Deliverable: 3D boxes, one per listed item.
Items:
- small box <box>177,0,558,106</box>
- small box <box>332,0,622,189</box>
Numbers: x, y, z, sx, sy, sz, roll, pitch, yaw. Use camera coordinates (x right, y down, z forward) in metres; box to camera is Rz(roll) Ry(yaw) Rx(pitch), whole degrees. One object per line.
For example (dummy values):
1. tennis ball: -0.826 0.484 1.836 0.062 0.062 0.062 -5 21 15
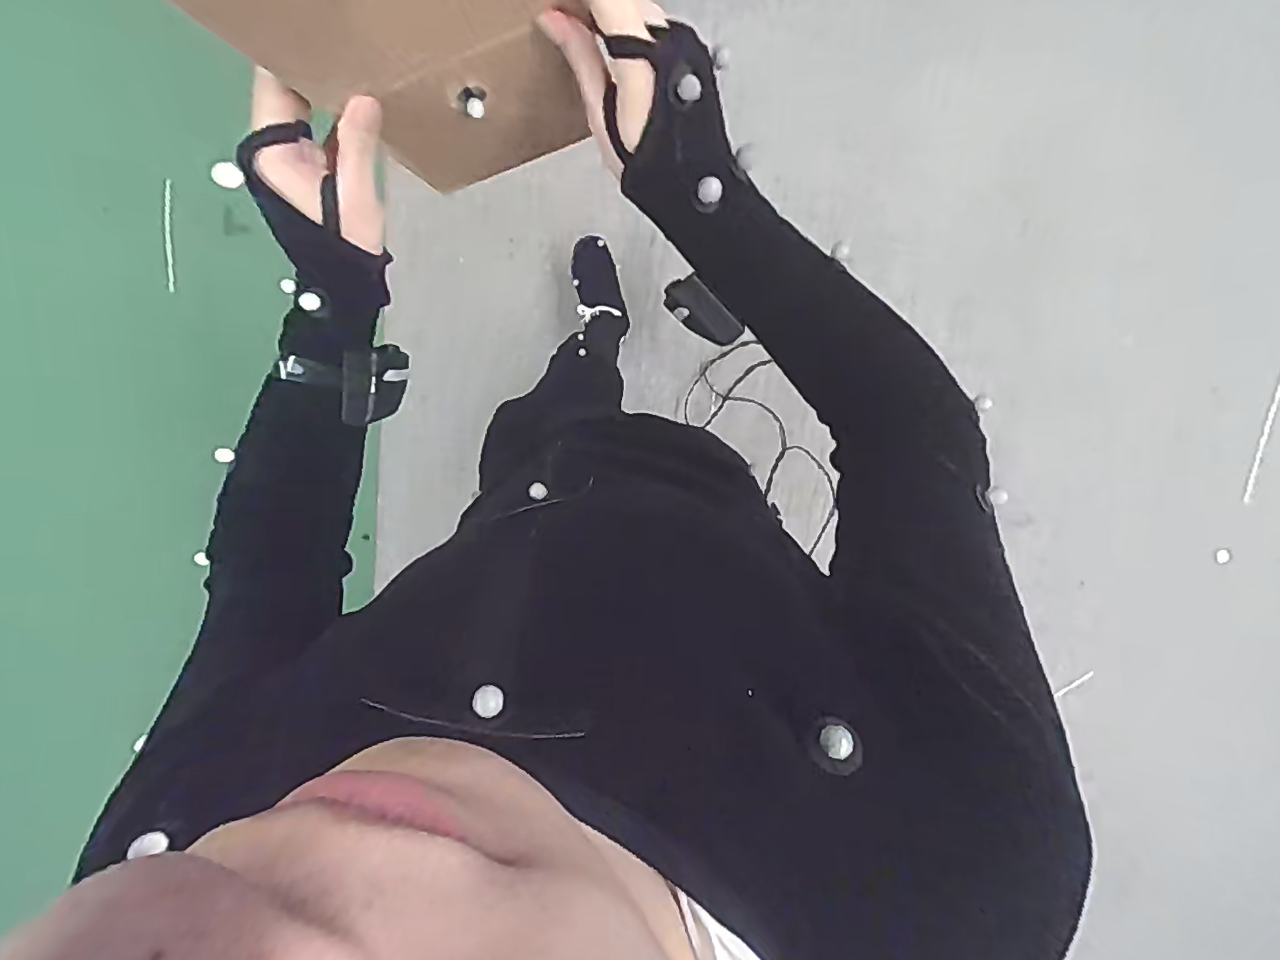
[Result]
1. small box: -0.140 -0.312 0.236 0.179 0.176 0.168 -16 100 9
2. small box: -0.124 -0.344 0.396 0.179 0.176 0.168 -15 99 7
